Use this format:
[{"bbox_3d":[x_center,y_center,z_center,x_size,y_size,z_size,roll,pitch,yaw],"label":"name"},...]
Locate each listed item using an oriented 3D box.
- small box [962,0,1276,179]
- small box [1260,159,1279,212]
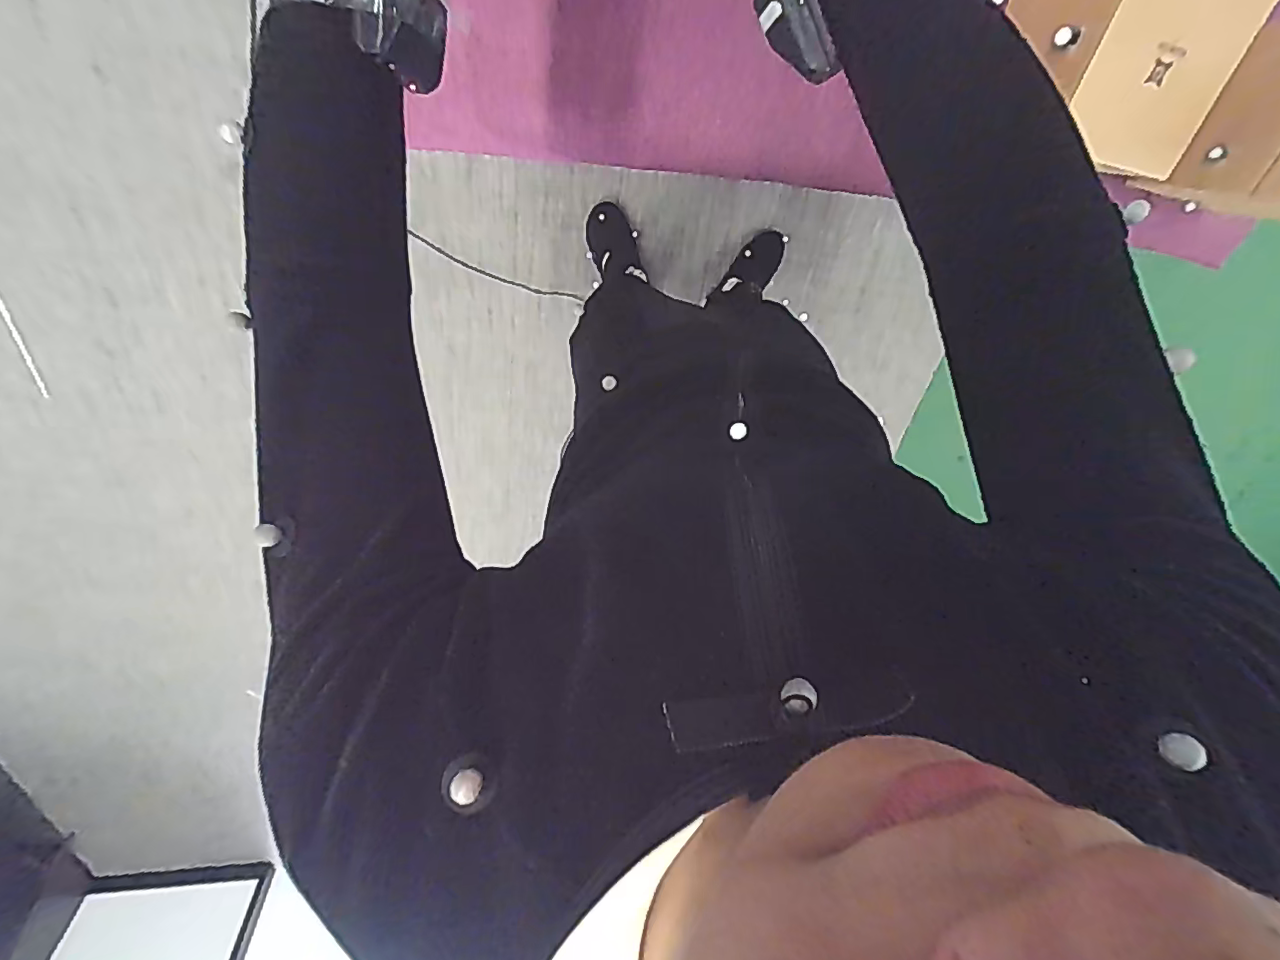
[{"bbox_3d":[0.502,-0.453,0.600,0.168,0.176,0.179,5,122,-12],"label":"small box"},{"bbox_3d":[0.800,-0.337,0.523,0.168,0.176,0.179,7,122,-12],"label":"small box"}]
